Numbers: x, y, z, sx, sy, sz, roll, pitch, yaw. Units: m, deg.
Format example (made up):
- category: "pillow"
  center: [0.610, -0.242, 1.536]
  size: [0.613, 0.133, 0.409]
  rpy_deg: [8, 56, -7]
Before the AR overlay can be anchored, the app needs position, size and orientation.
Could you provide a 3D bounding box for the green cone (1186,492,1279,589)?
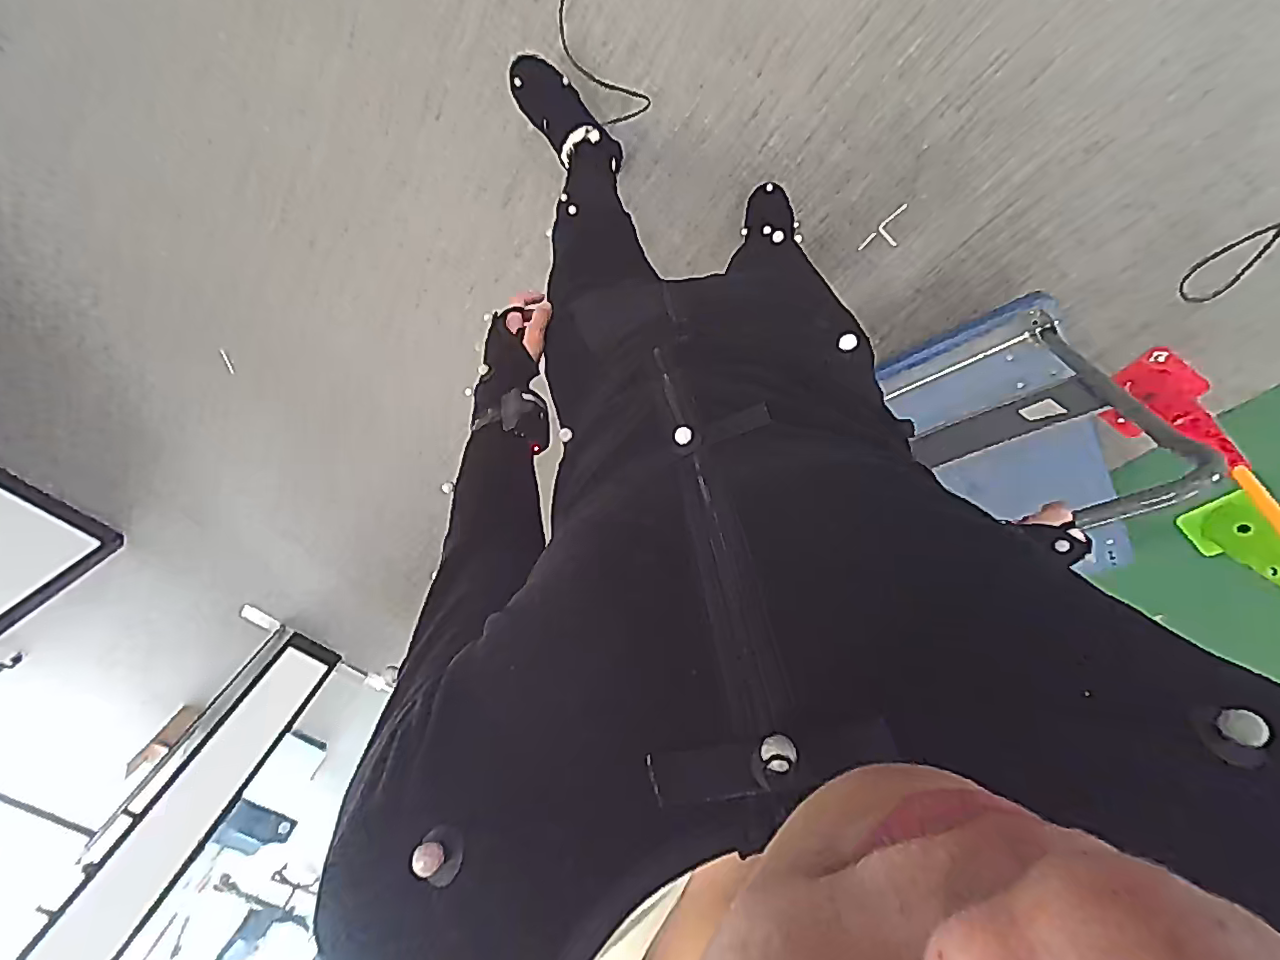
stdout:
- category: "green cone"
  center: [1.673, 0.235, 1.394]
  size: [0.202, 0.368, 0.200]
  rpy_deg: [37, 124, -15]
